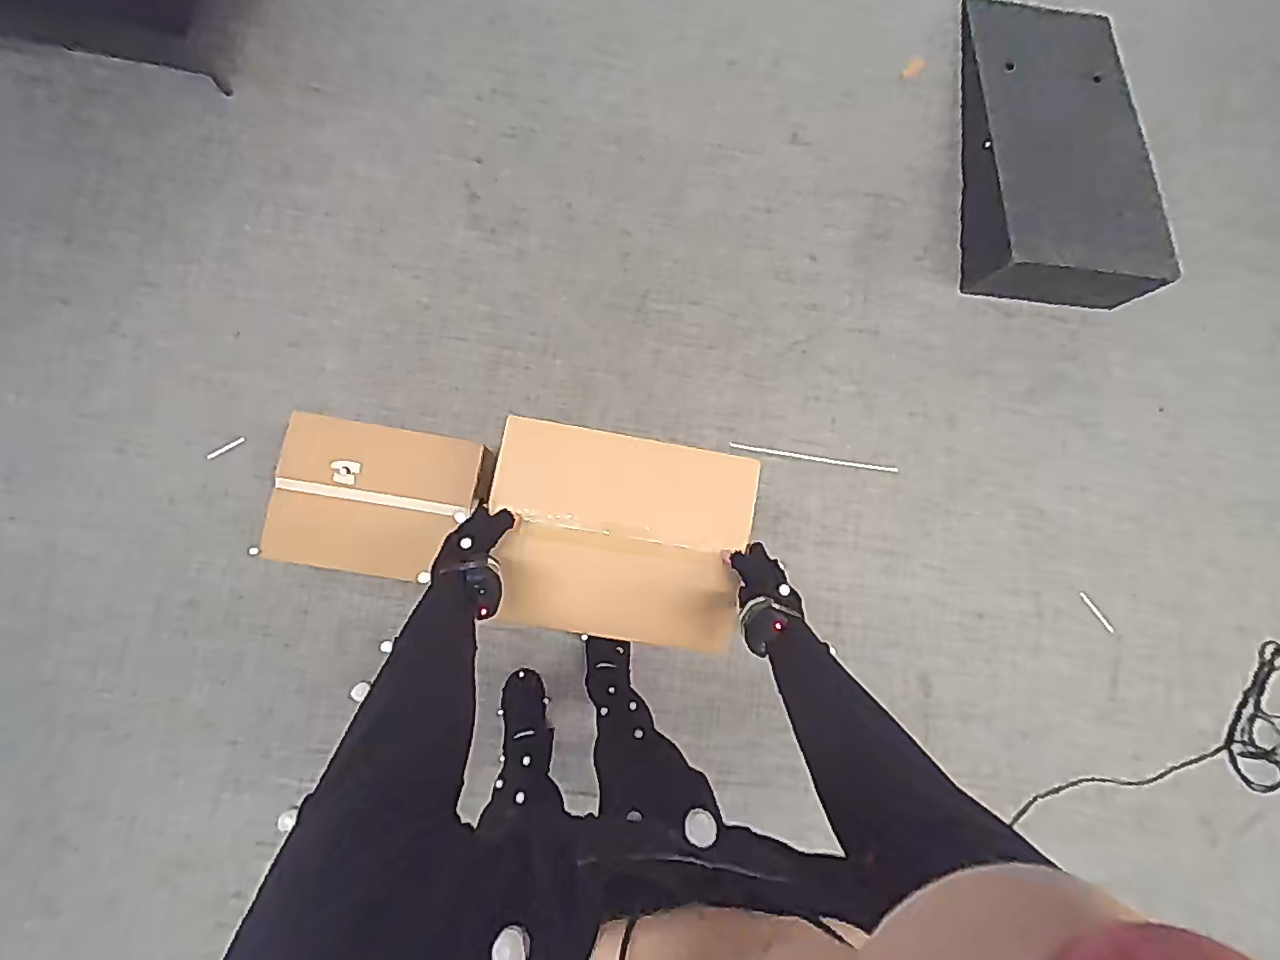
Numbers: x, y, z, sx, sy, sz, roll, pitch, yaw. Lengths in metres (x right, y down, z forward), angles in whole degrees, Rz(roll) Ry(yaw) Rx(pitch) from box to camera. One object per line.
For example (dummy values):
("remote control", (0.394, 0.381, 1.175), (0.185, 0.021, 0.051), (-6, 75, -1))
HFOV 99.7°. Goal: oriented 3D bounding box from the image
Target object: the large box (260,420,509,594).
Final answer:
("large box", (-0.553, 0.071, 1.258), (0.408, 0.320, 0.320), (10, 82, -2))
